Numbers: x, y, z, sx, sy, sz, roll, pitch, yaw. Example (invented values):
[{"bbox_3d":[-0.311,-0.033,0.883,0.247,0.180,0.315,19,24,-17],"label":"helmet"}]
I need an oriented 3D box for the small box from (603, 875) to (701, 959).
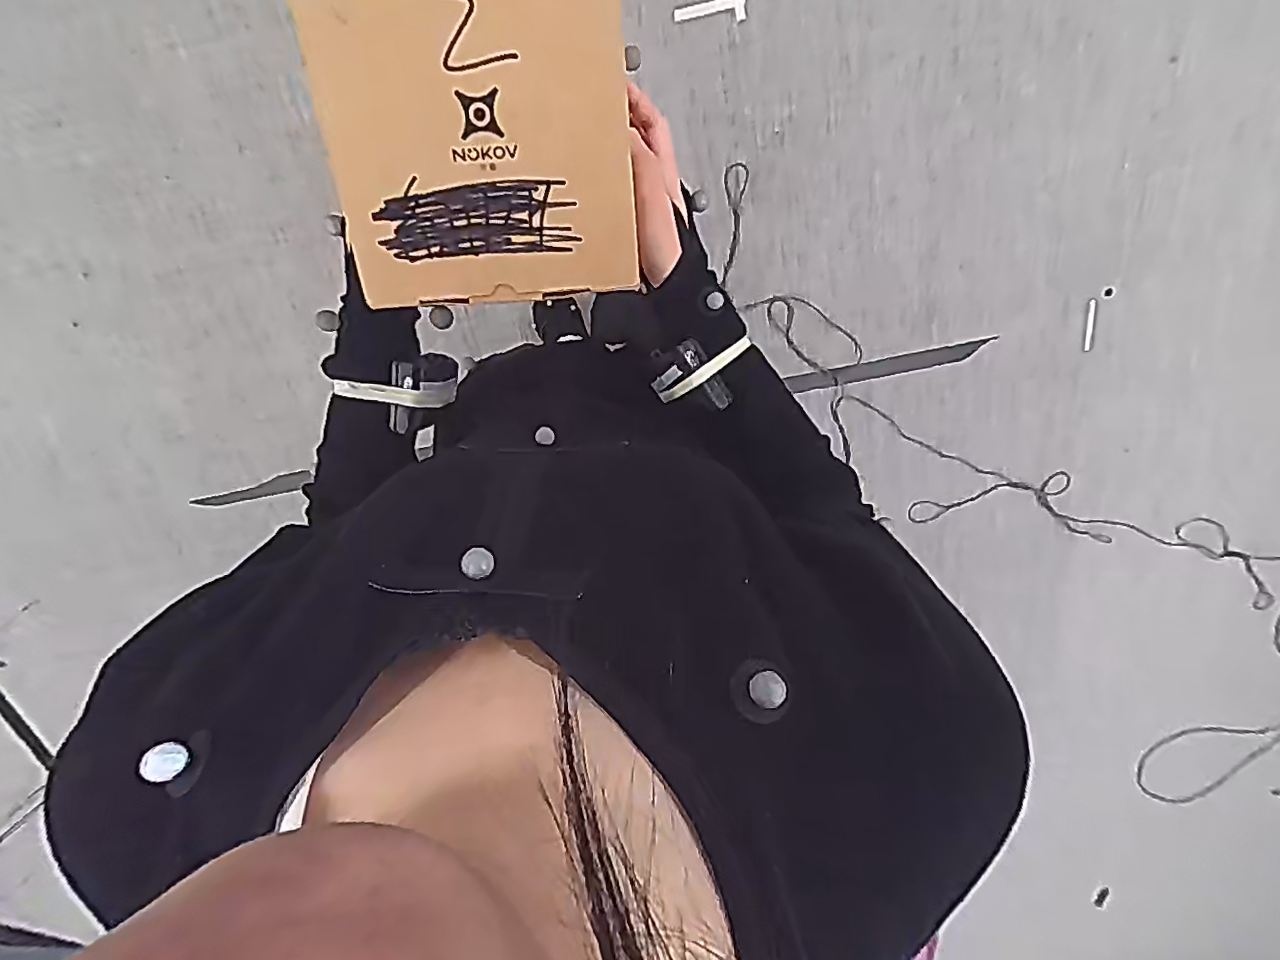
[{"bbox_3d":[0.027,0.883,1.003,0.168,0.176,0.179,-10,111,-4],"label":"small box"}]
